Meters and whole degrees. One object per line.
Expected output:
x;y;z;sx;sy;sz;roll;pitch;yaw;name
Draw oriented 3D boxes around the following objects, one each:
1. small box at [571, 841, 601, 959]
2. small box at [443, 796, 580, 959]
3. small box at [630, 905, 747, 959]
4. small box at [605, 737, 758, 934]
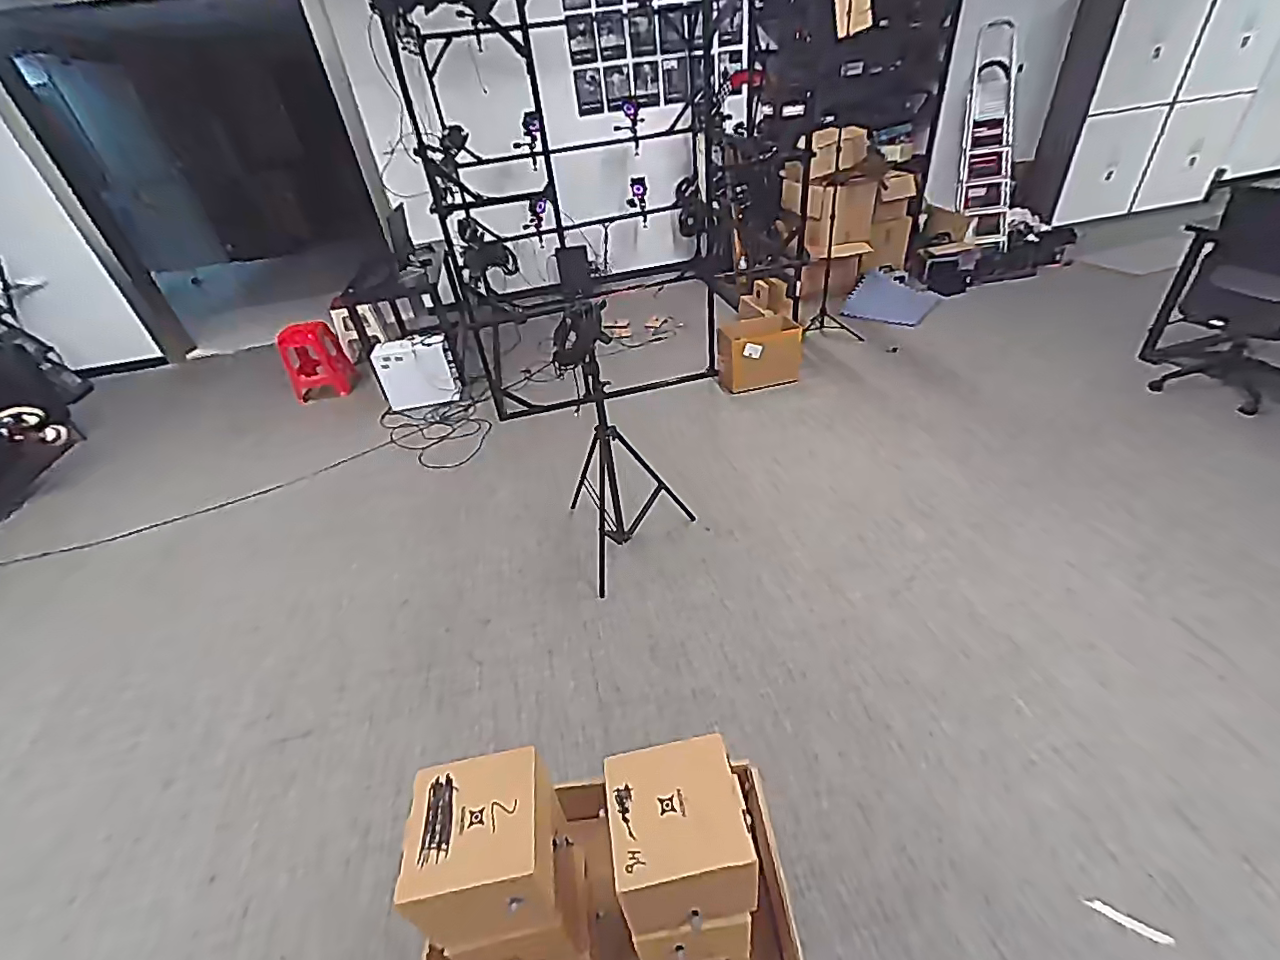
-0.169;0.777;0.956;0.179;0.176;0.168;-9;37;-3;small box
-0.195;0.646;0.860;0.168;0.176;0.179;-12;36;-4;small box
0.068;0.626;0.847;0.168;0.176;0.179;-9;36;-2;small box
0.053;0.492;0.752;0.179;0.176;0.168;-9;35;-3;small box
